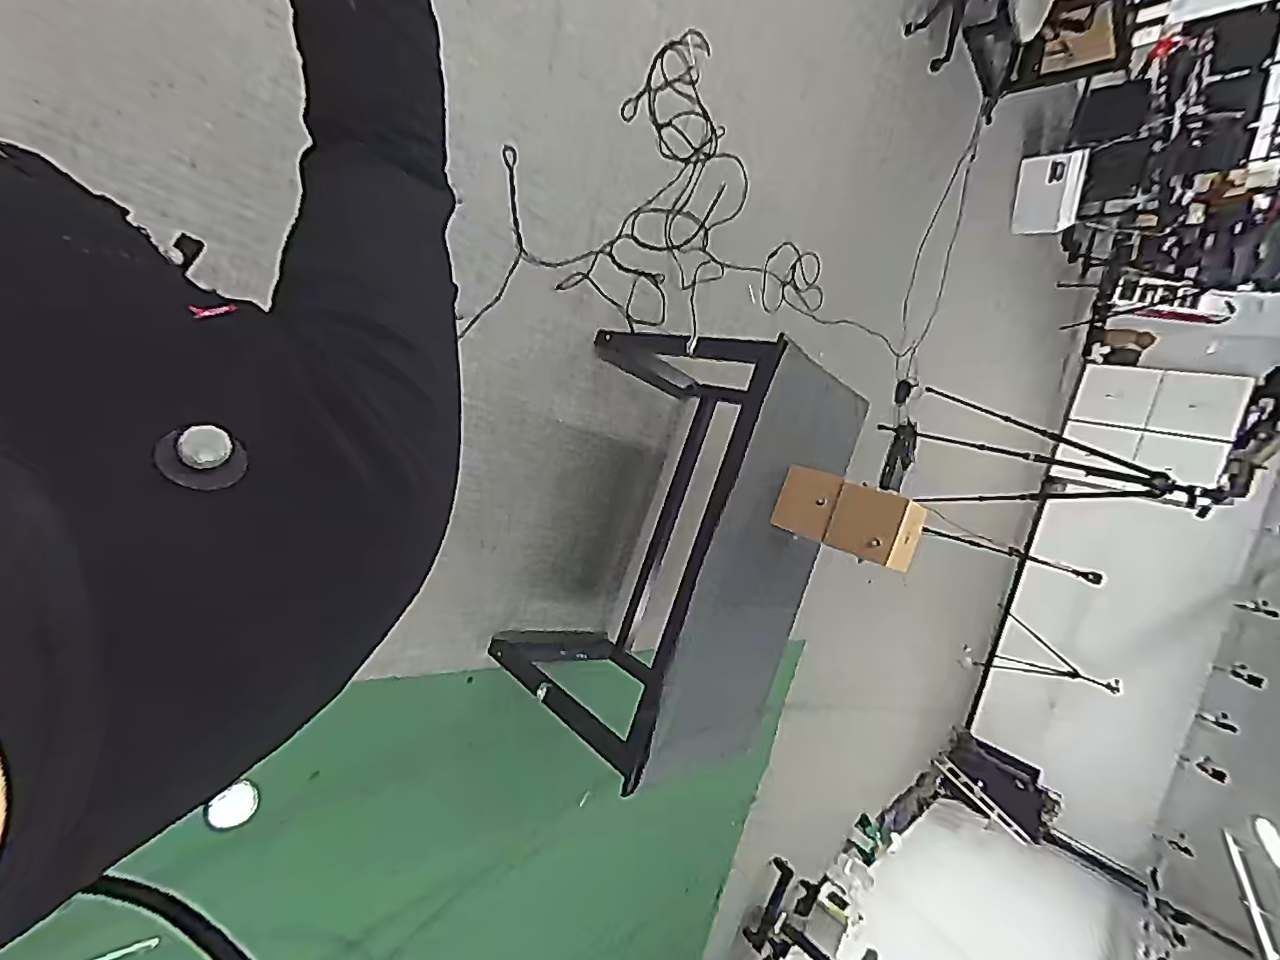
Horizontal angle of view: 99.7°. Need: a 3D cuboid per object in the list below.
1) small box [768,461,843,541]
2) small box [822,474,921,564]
[{"bbox_3d":[0.487,0.058,1.523,0.168,0.176,0.179,21,89,-47],"label":"small box"},{"bbox_3d":[0.596,0.101,1.406,0.168,0.176,0.179,19,90,-48],"label":"small box"}]
